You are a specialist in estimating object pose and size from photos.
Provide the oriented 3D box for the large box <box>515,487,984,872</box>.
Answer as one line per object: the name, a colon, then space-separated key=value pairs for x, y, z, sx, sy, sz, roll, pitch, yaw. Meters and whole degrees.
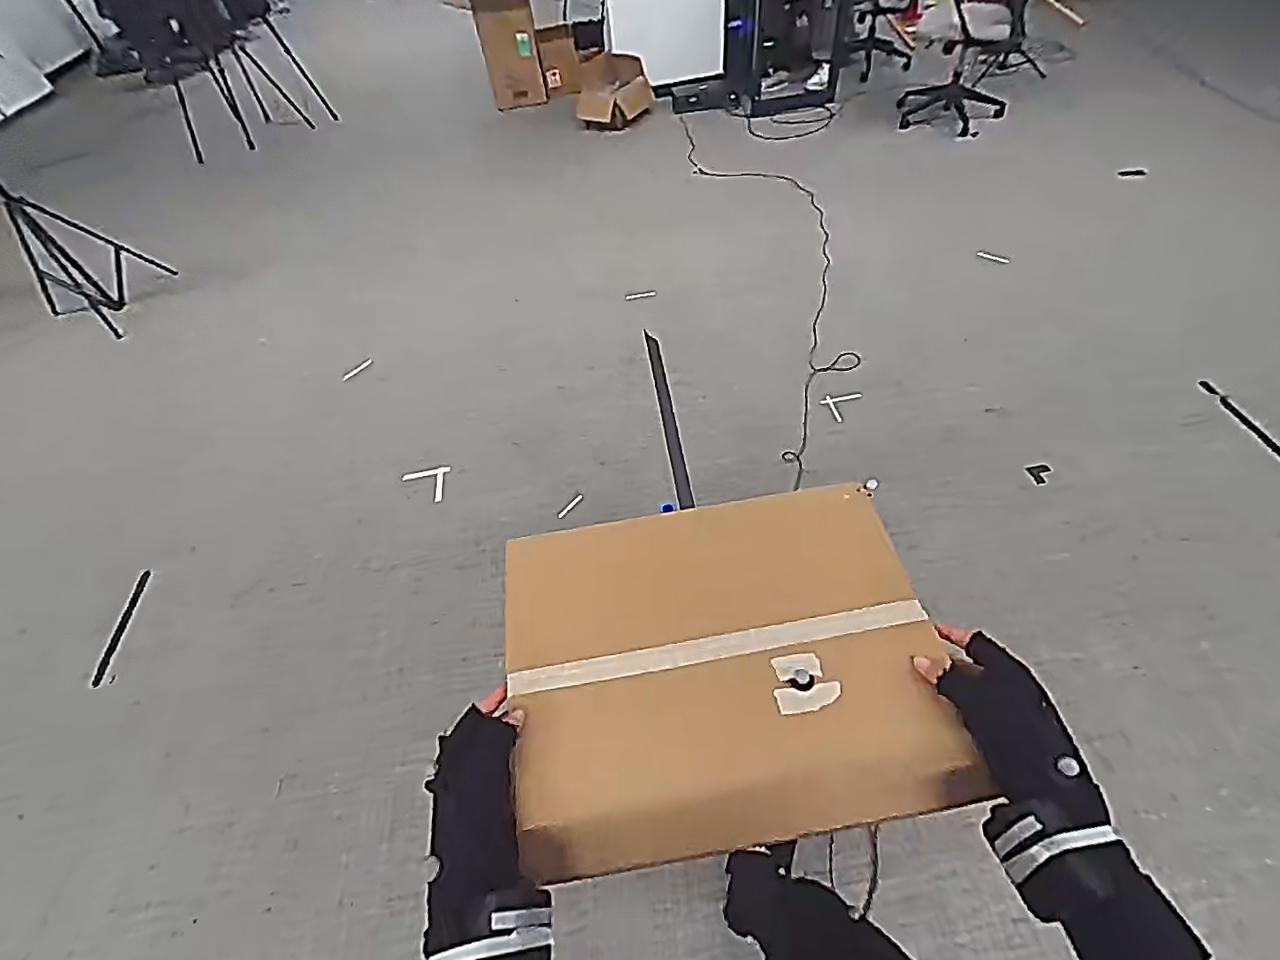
large box: x=0.086 y=0.249 z=0.656 sx=0.408 sy=0.320 sz=0.320 roll=-9 pitch=56 yaw=-2
